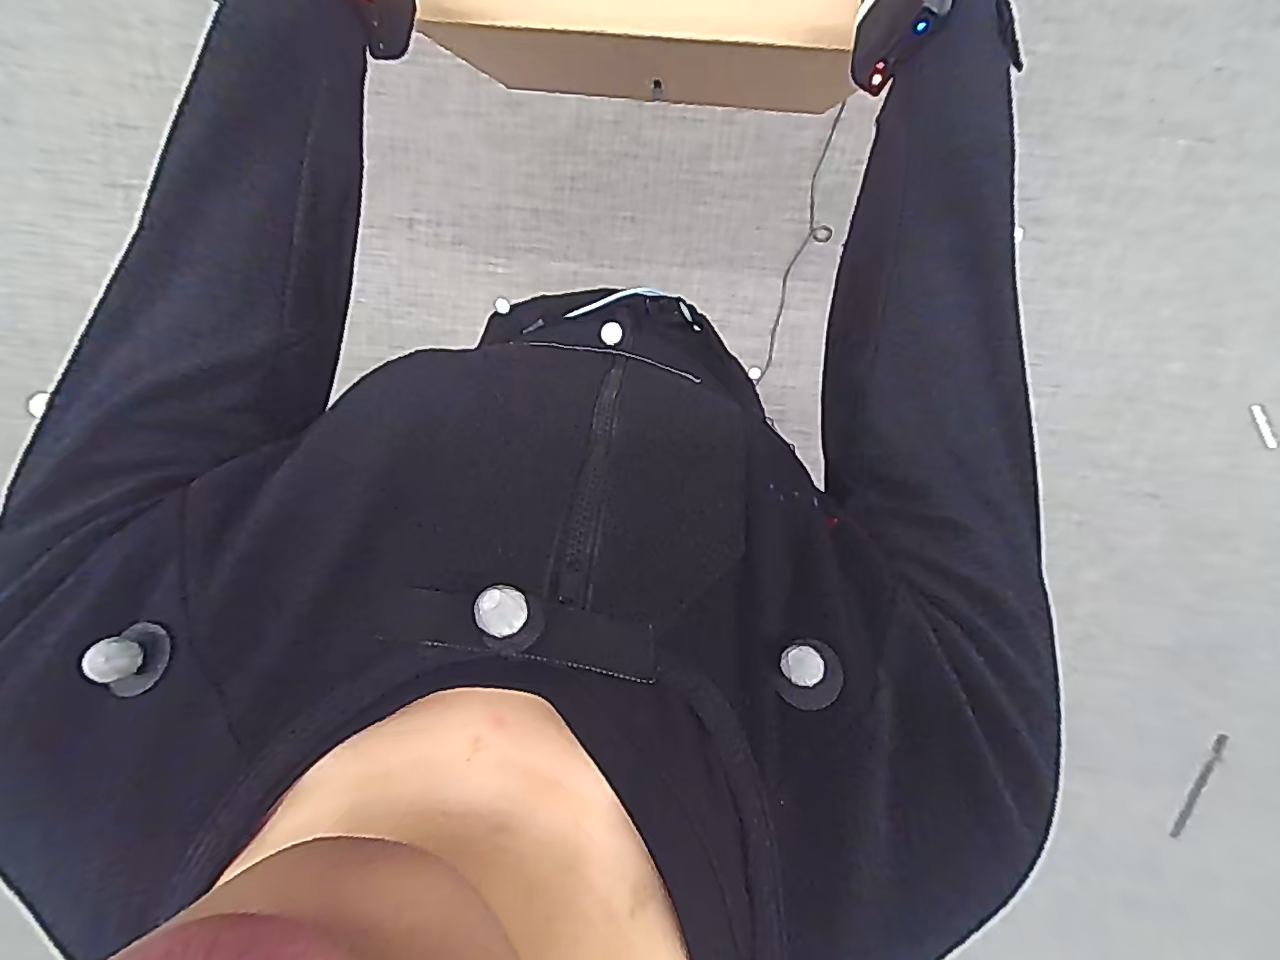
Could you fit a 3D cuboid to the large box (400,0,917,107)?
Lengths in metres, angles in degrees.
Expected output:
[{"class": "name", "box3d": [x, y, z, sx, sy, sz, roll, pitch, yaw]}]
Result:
[{"class": "large box", "box3d": [0.030, -0.548, 0.486, 0.408, 0.320, 0.320, 6, 116, 2]}]
